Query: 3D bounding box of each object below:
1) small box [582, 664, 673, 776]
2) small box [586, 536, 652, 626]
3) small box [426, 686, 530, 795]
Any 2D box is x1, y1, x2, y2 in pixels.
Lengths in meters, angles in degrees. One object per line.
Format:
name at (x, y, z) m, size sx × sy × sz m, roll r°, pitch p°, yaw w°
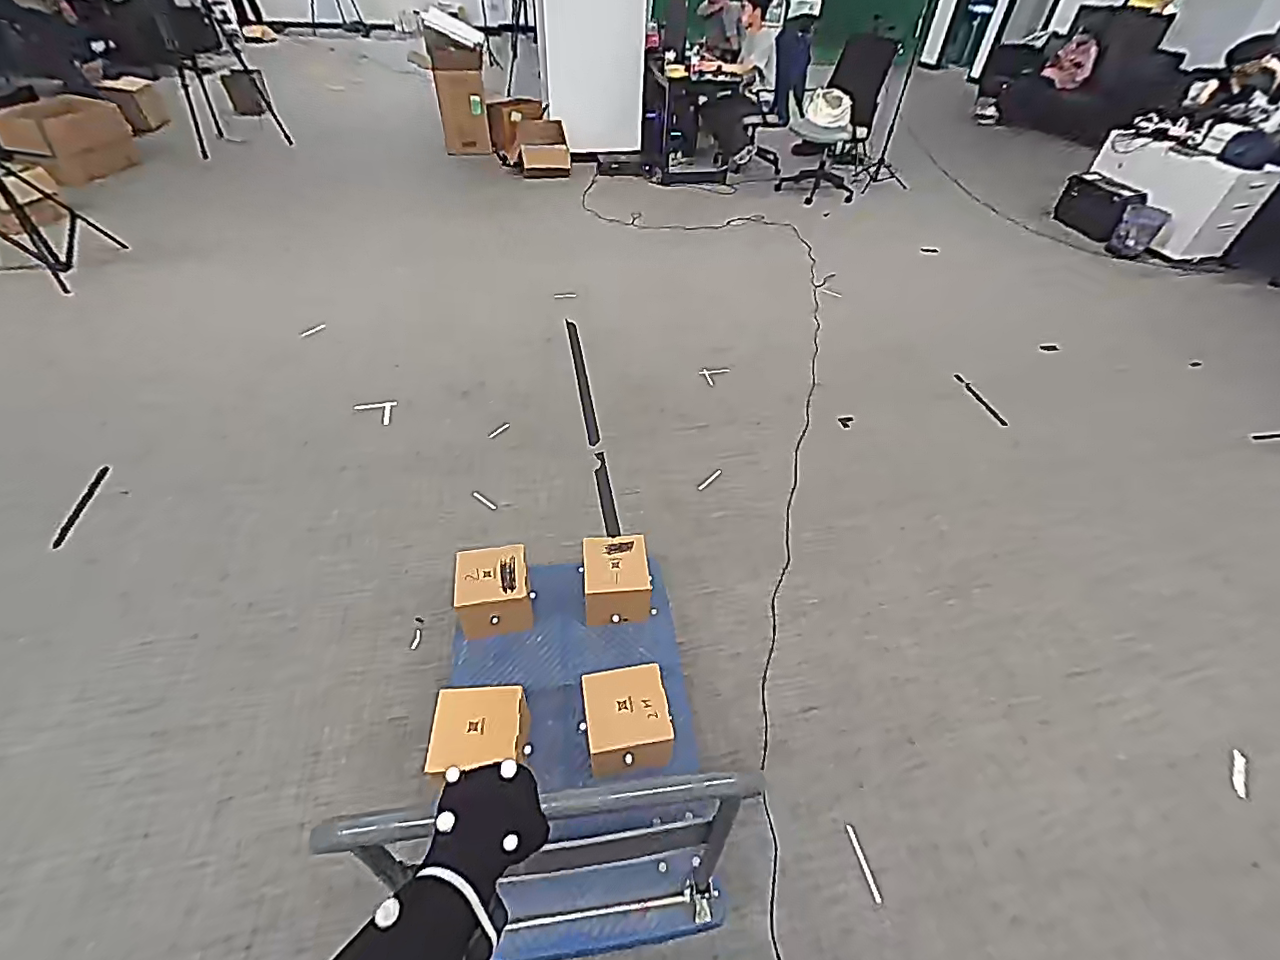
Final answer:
small box at (-0.030, 0.534, 1.197) m, size 0.179 × 0.176 × 0.168 m, roll -6°, pitch 46°, yaw -8°
small box at (-0.063, 0.271, 1.455) m, size 0.168 × 0.176 × 0.179 m, roll -3°, pitch 47°, yaw -5°
small box at (-0.336, 0.560, 1.159) m, size 0.179 × 0.176 × 0.168 m, roll 0°, pitch 45°, yaw -5°
